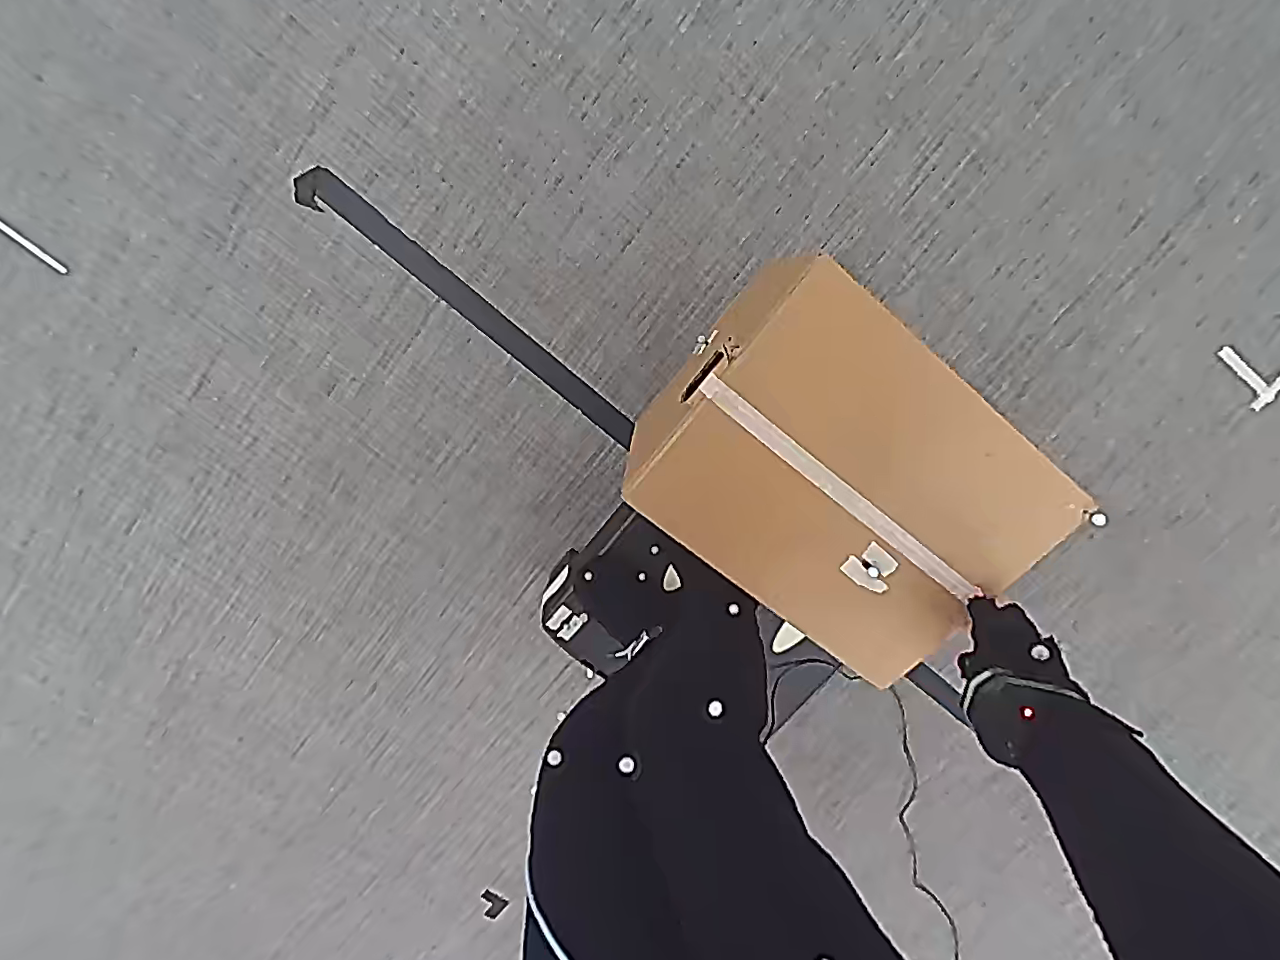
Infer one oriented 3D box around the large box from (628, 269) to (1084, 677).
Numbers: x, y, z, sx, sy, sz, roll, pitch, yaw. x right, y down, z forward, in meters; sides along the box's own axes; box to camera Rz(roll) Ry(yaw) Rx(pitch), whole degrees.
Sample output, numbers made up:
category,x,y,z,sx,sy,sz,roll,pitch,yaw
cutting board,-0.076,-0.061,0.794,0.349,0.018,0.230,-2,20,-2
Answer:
category,x,y,z,sx,sy,sz,roll,pitch,yaw
large box,0.234,-0.030,0.728,0.408,0.320,0.320,36,108,-11
